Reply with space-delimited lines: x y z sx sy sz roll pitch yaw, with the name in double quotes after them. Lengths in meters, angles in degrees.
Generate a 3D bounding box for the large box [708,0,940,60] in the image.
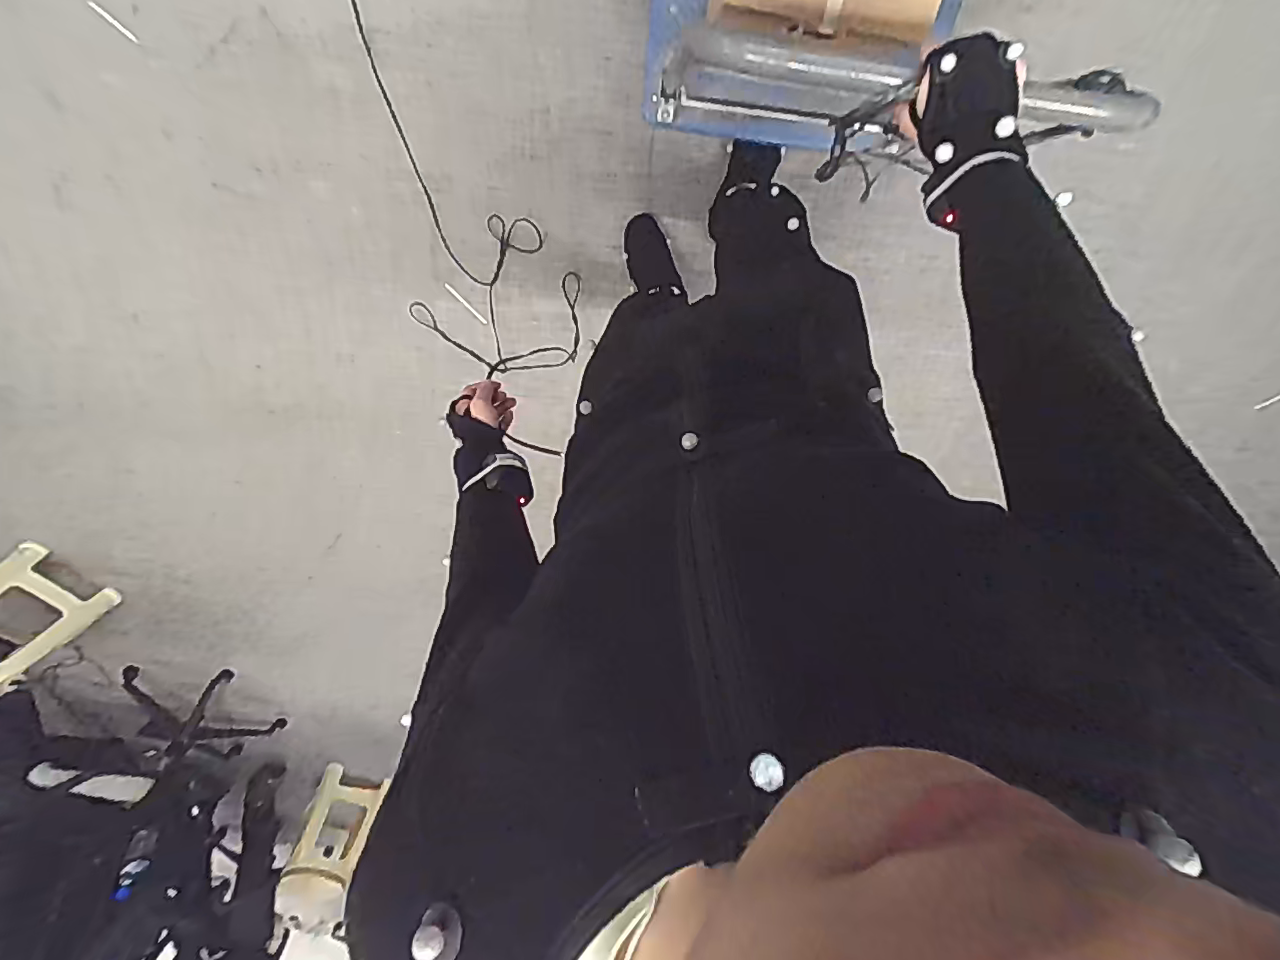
0.299 -0.910 0.801 0.320 0.320 0.408 8 122 -5 "large box"
